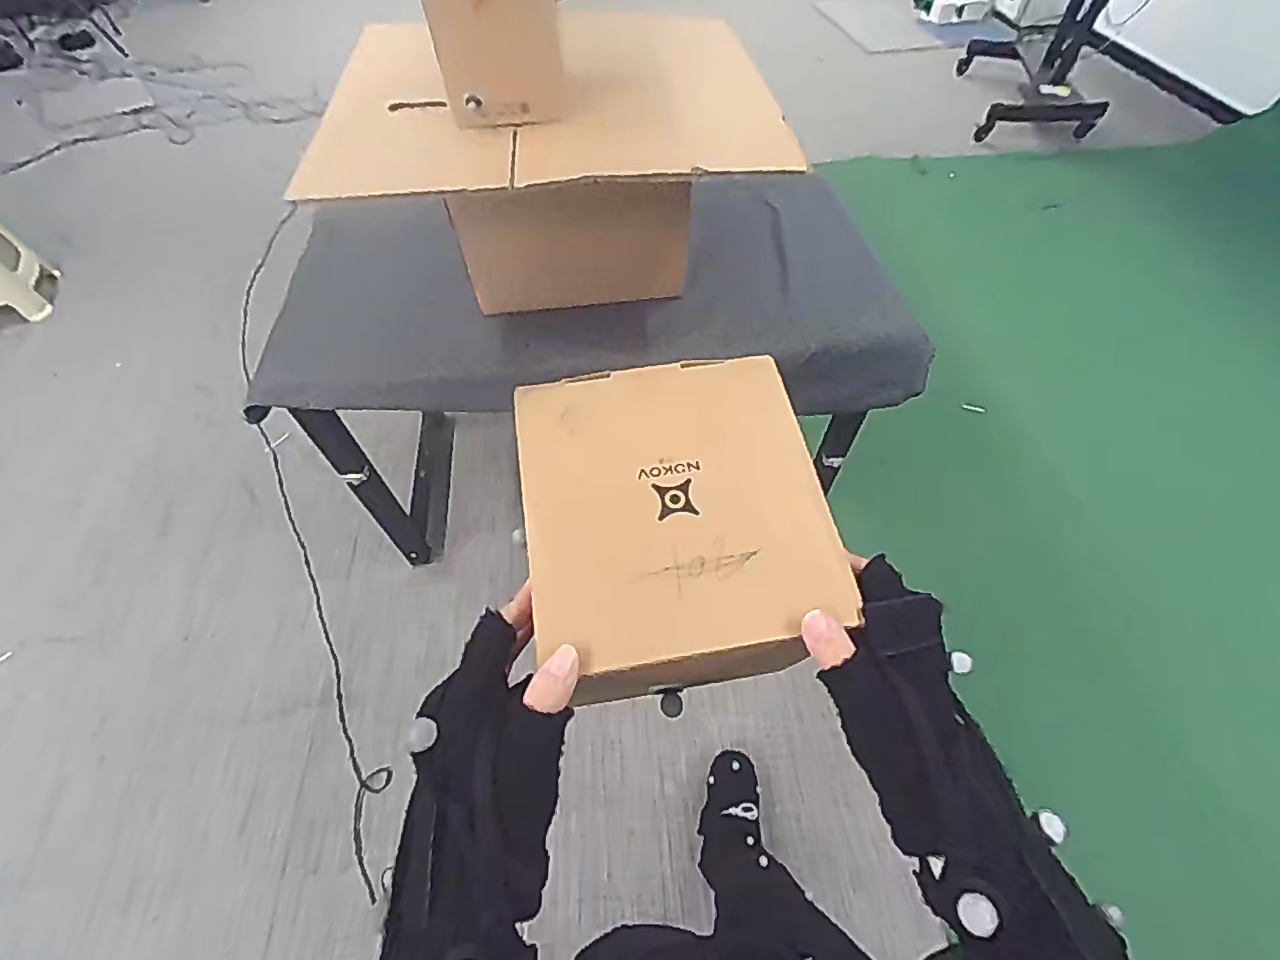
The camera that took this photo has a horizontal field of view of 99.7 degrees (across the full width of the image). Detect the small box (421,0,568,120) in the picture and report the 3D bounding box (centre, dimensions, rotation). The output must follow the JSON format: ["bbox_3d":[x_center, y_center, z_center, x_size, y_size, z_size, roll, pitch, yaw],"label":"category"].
[{"bbox_3d":[-0.196,-0.640,0.774,0.168,0.176,0.179,-5,55,-2],"label":"small box"}]

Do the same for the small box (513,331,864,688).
[{"bbox_3d":[0.014,0.029,0.363,0.168,0.176,0.179,-8,65,-6],"label":"small box"}]
